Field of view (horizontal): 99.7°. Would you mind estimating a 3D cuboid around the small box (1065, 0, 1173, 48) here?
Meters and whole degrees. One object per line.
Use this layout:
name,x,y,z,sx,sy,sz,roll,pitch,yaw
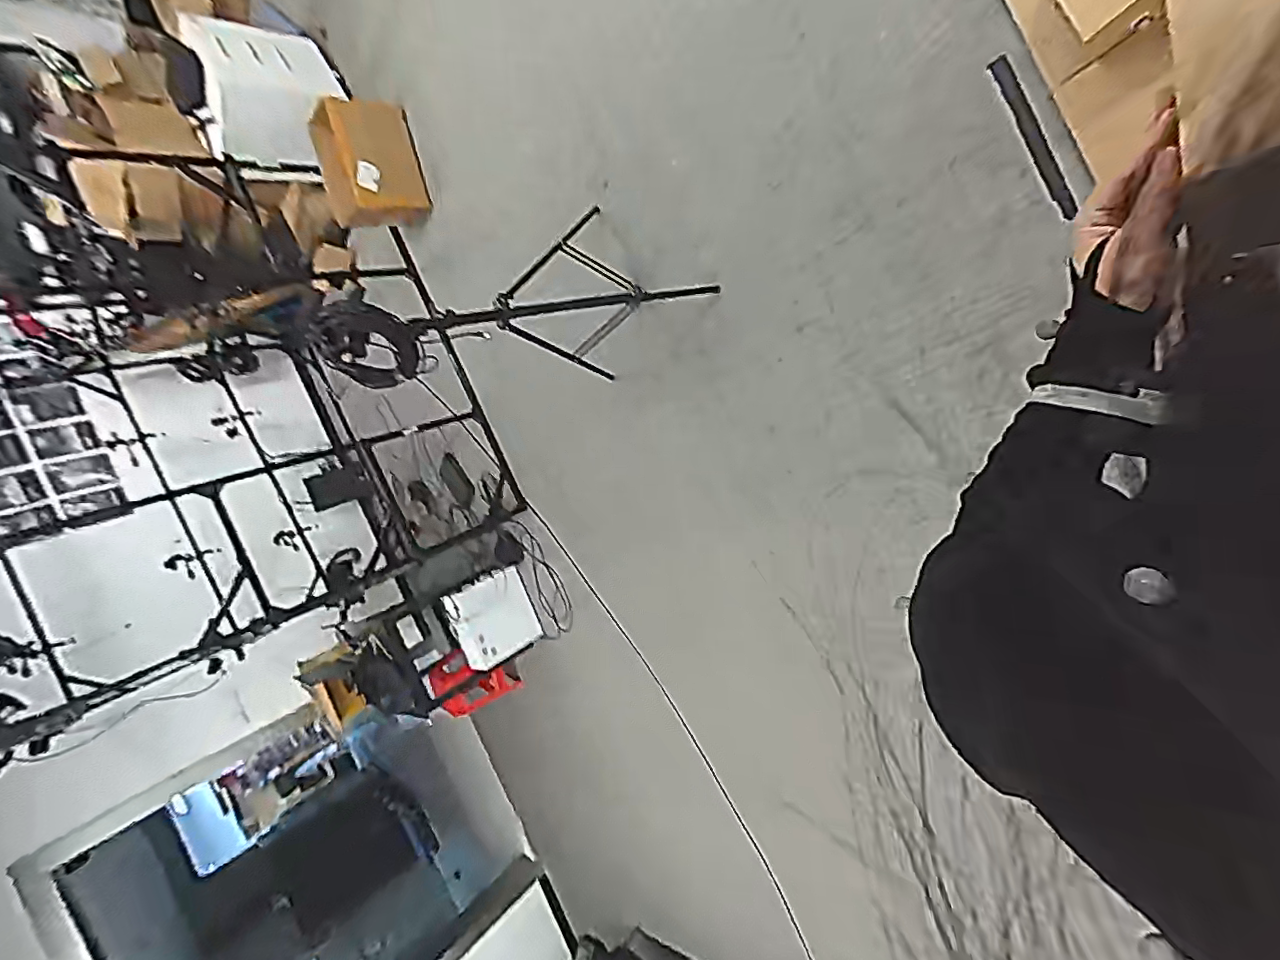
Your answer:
small box,0.793,-0.852,0.877,0.168,0.176,0.179,-35,84,49
